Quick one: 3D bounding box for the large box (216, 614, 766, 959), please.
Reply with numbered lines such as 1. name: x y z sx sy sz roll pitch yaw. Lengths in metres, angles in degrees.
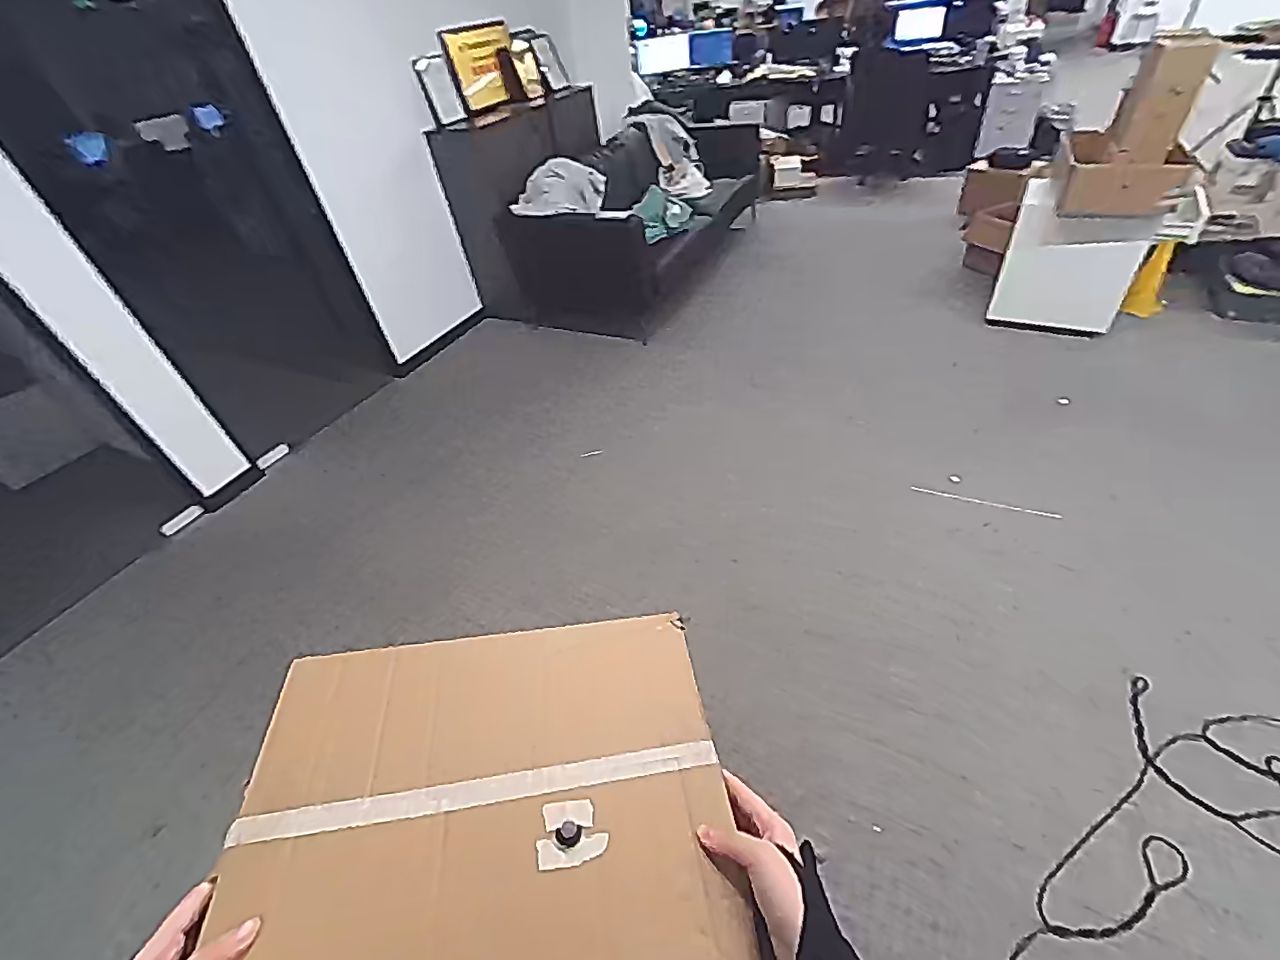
1. large box: -0.132 0.381 0.580 0.408 0.320 0.320 -4 42 -9
